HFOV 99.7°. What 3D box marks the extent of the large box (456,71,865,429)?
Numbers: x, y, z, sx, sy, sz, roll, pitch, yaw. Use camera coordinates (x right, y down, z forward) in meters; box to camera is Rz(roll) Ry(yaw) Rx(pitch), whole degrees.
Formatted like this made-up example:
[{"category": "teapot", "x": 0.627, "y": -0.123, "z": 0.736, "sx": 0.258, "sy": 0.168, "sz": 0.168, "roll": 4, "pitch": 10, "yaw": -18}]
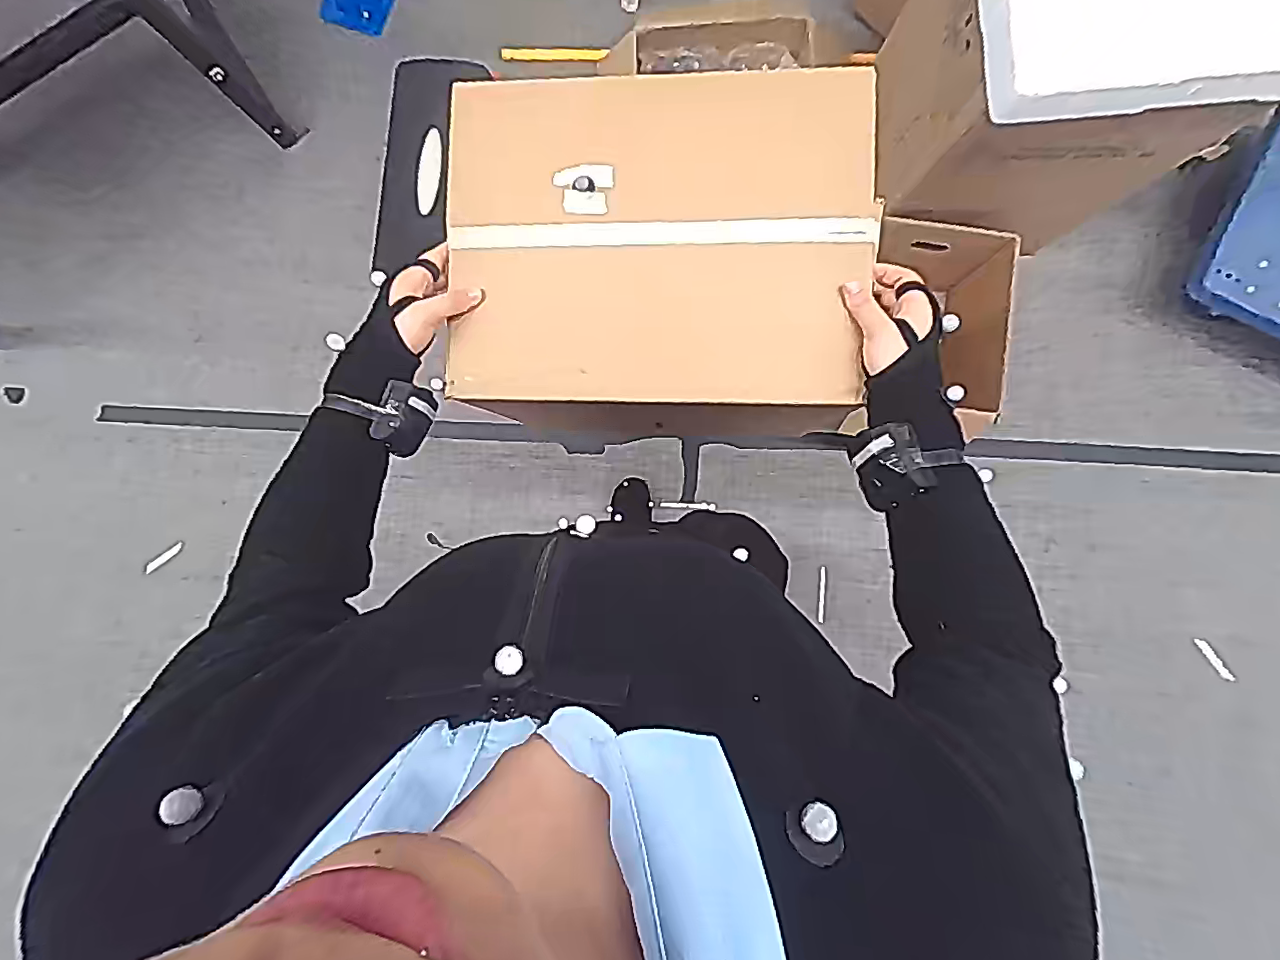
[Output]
[{"category": "large box", "x": 0.031, "y": -0.230, "z": 0.673, "sx": 0.408, "sy": 0.320, "sz": 0.320, "roll": 1, "pitch": 88, "yaw": 7}]
